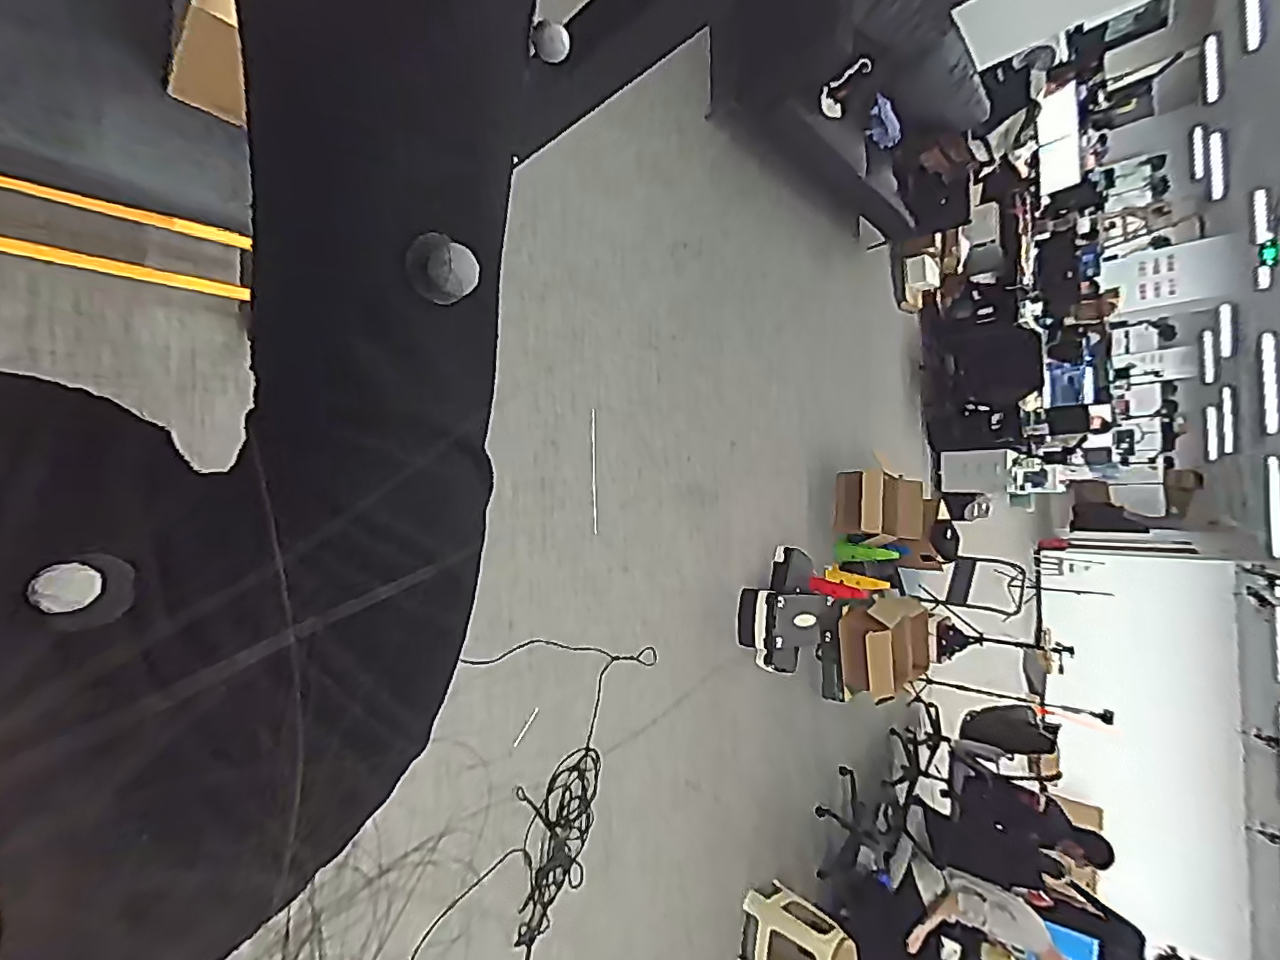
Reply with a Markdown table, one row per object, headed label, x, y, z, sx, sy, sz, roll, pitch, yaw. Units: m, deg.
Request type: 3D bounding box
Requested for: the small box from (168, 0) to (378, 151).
| label | x | y | z | sx | sy | sz | roll | pitch | yaw |
| --- | --- | --- | --- | --- | --- | --- | --- | --- | --- |
| small box | -0.423 | -0.528 | 0.625 | 0.168 | 0.176 | 0.179 | 5 | 84 | -48 |
